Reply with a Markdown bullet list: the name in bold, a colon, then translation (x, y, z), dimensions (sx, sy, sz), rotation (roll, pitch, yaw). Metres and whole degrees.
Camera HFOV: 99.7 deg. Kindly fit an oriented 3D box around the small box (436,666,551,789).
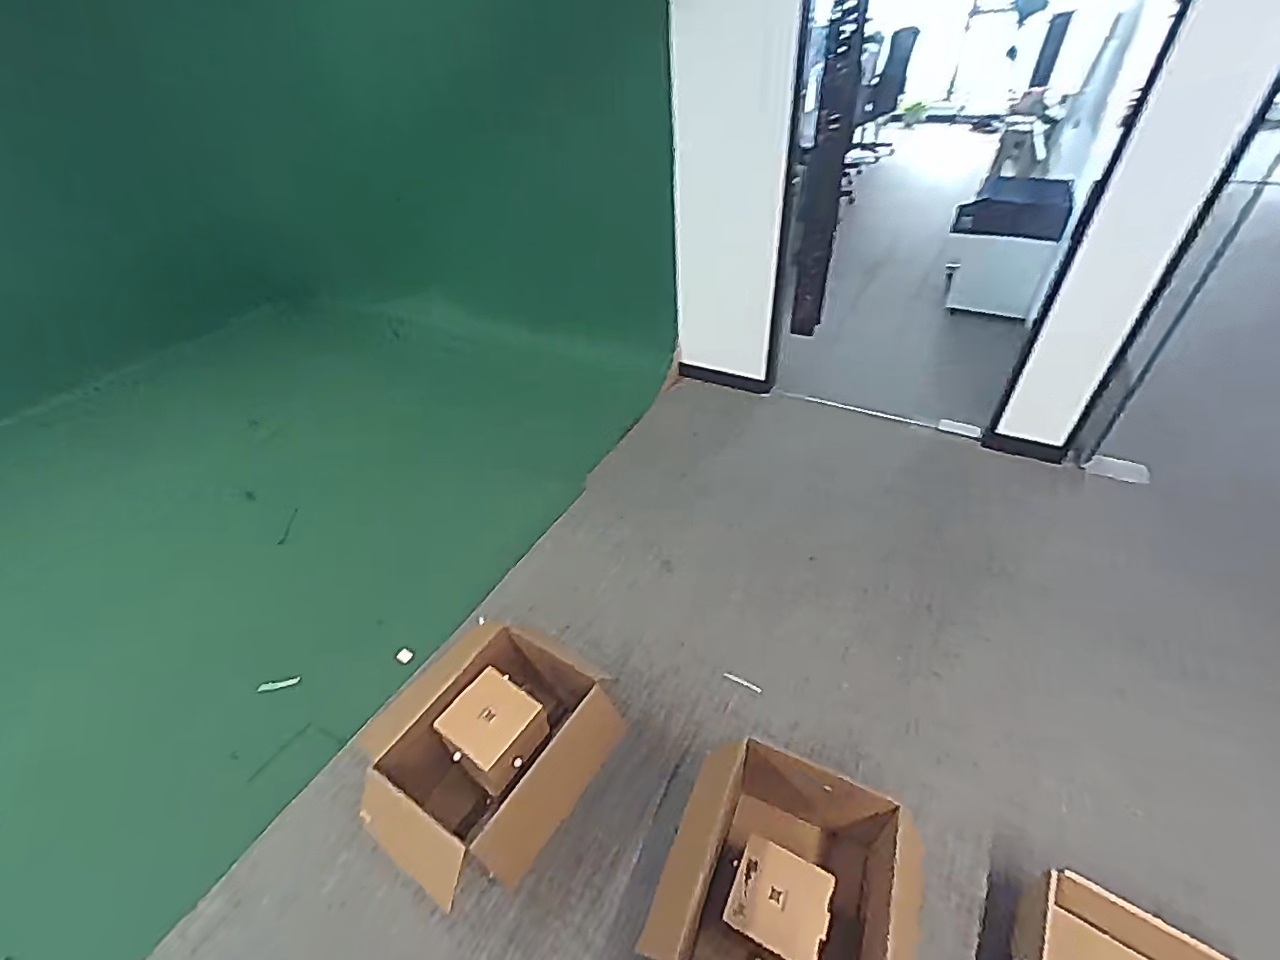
- **small box**: translation (-0.325, 0.571, 1.236), dimensions (0.179, 0.176, 0.168), rotation (24, 48, 27)
